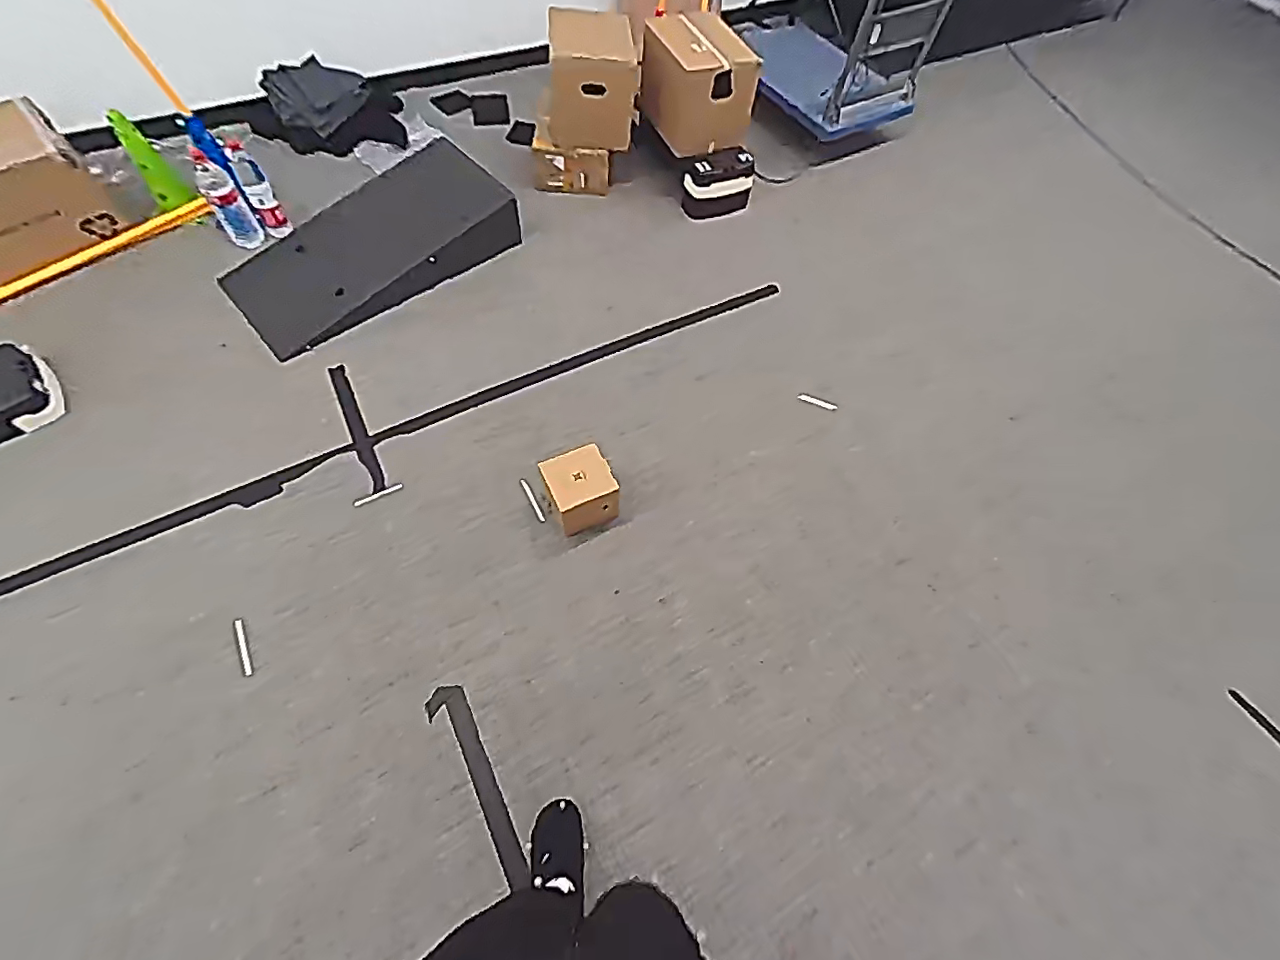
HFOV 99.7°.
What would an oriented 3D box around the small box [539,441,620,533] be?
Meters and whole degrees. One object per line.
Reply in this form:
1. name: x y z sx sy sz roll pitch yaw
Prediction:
1. small box: -0.171 0.023 1.529 0.179 0.176 0.168 -22 64 -15
